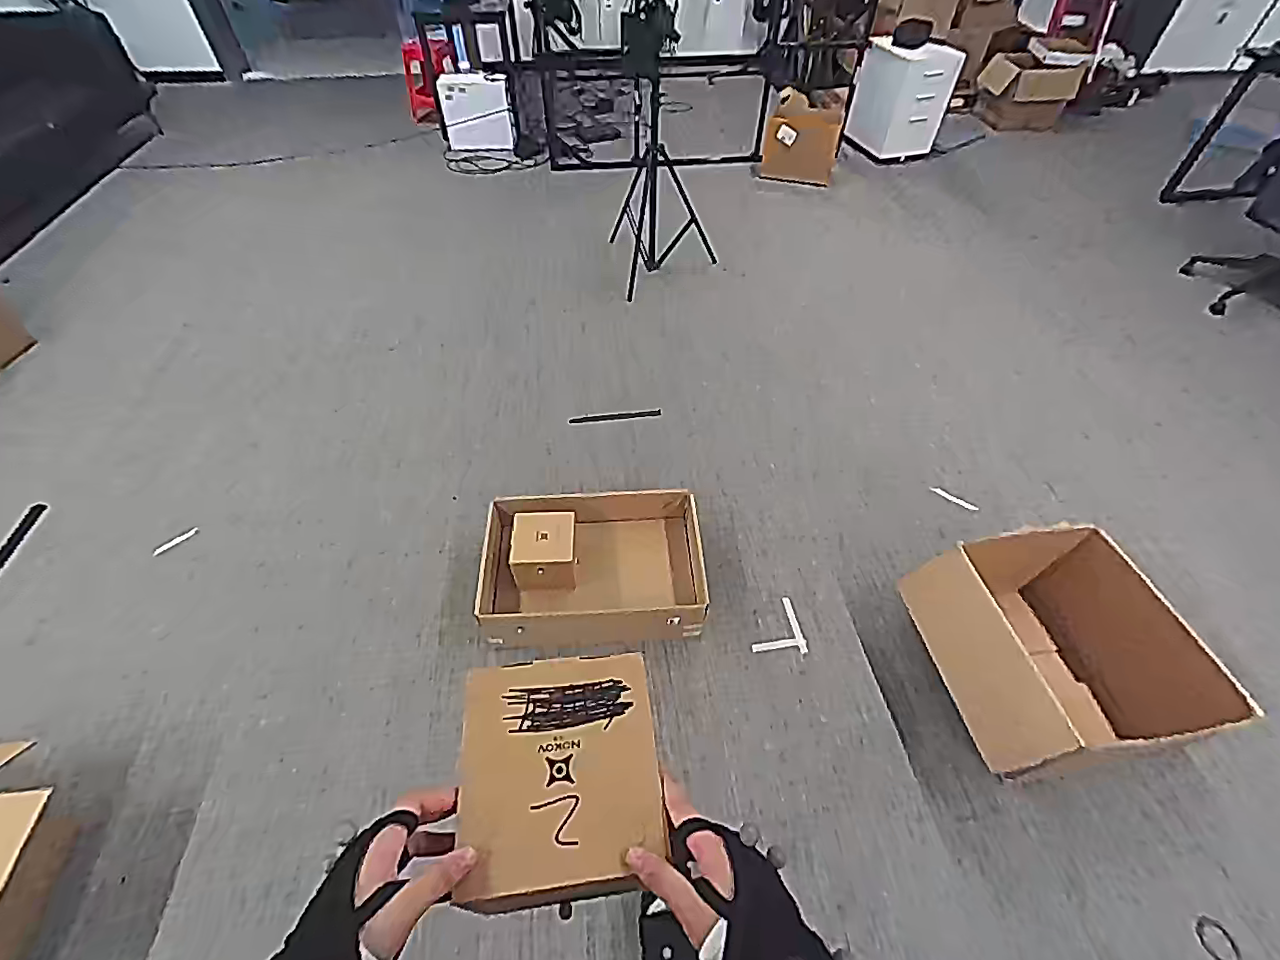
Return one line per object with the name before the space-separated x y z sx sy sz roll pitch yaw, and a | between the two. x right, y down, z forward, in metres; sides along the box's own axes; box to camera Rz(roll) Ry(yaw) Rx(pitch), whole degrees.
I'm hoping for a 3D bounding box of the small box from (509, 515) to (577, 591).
small box | -0.279 0.219 1.594 0.179 0.176 0.168 -1 52 -4
